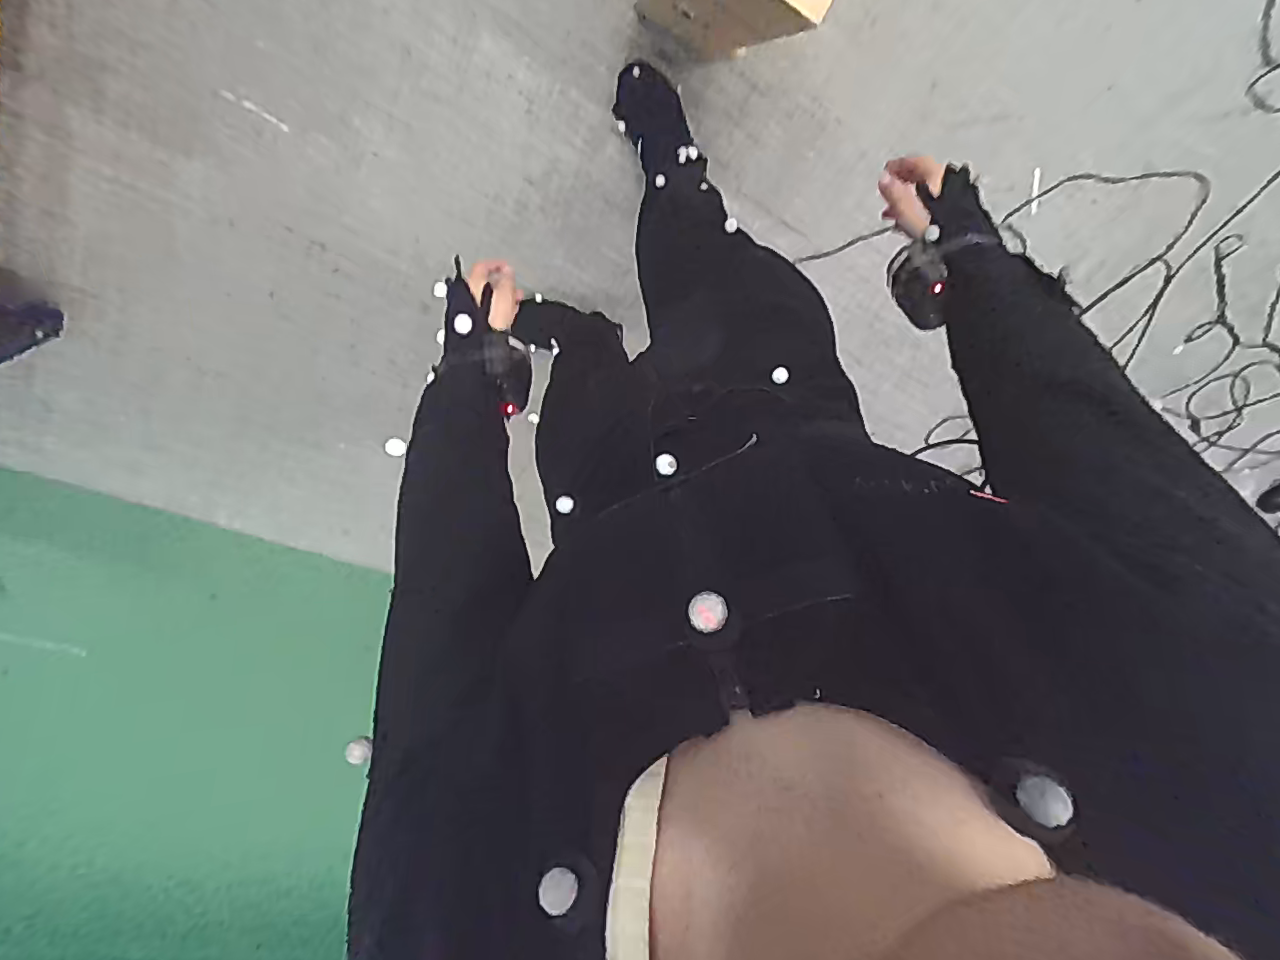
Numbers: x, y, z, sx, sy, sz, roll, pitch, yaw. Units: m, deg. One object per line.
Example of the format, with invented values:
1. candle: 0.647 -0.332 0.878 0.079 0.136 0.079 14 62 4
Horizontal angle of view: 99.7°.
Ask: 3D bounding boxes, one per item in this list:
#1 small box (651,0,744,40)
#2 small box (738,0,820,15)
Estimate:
1. small box: 0.105 -0.814 0.830 0.179 0.176 0.168 19 121 -21
2. small box: 0.136 -0.628 0.562 0.179 0.176 0.168 20 121 -20
